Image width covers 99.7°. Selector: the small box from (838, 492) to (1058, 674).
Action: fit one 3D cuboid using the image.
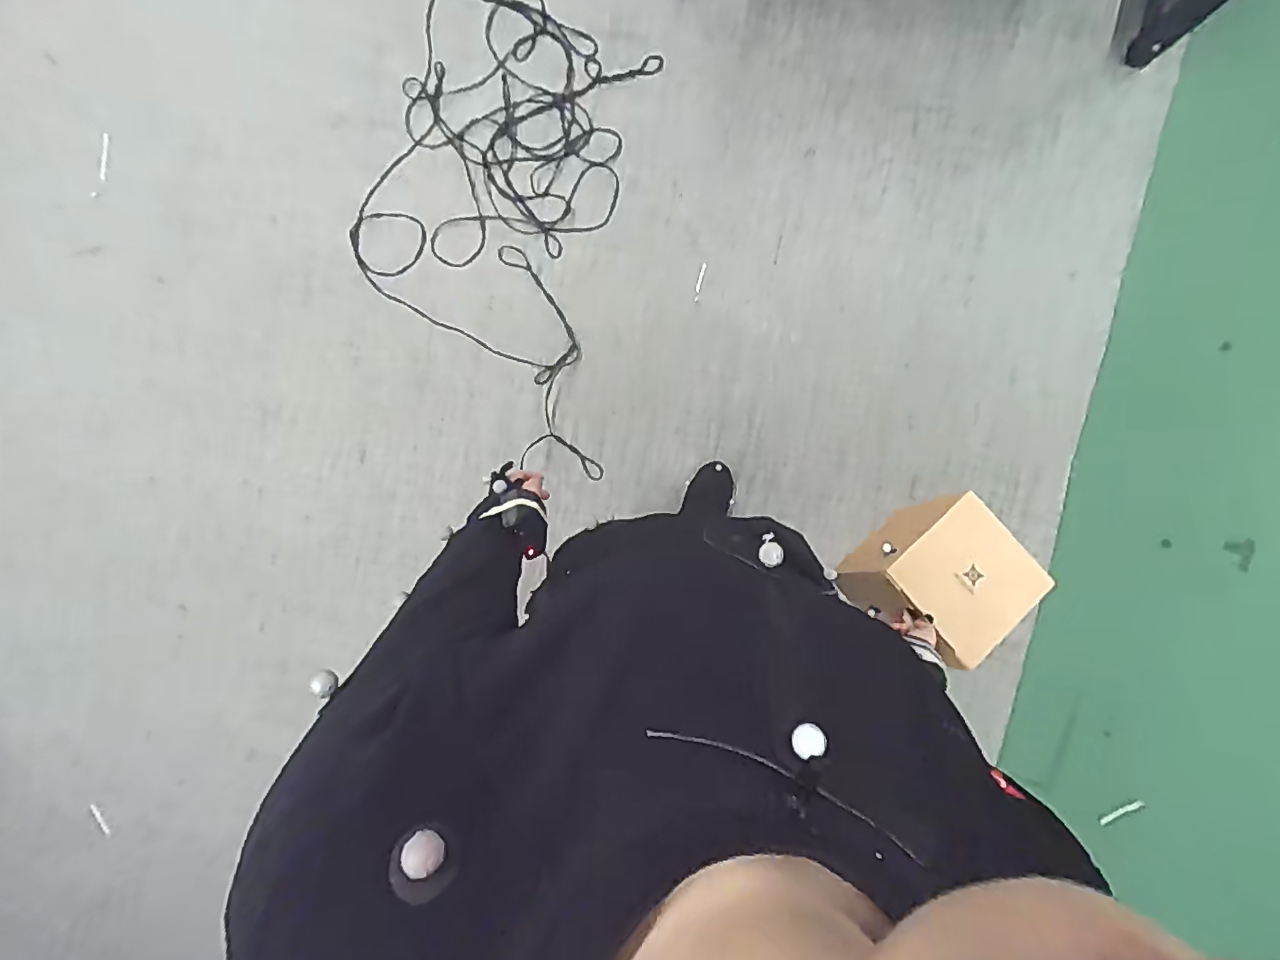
[{"bbox_3d":[0.422,0.142,0.771,0.179,0.176,0.168,-39,85,-11],"label":"small box"}]
